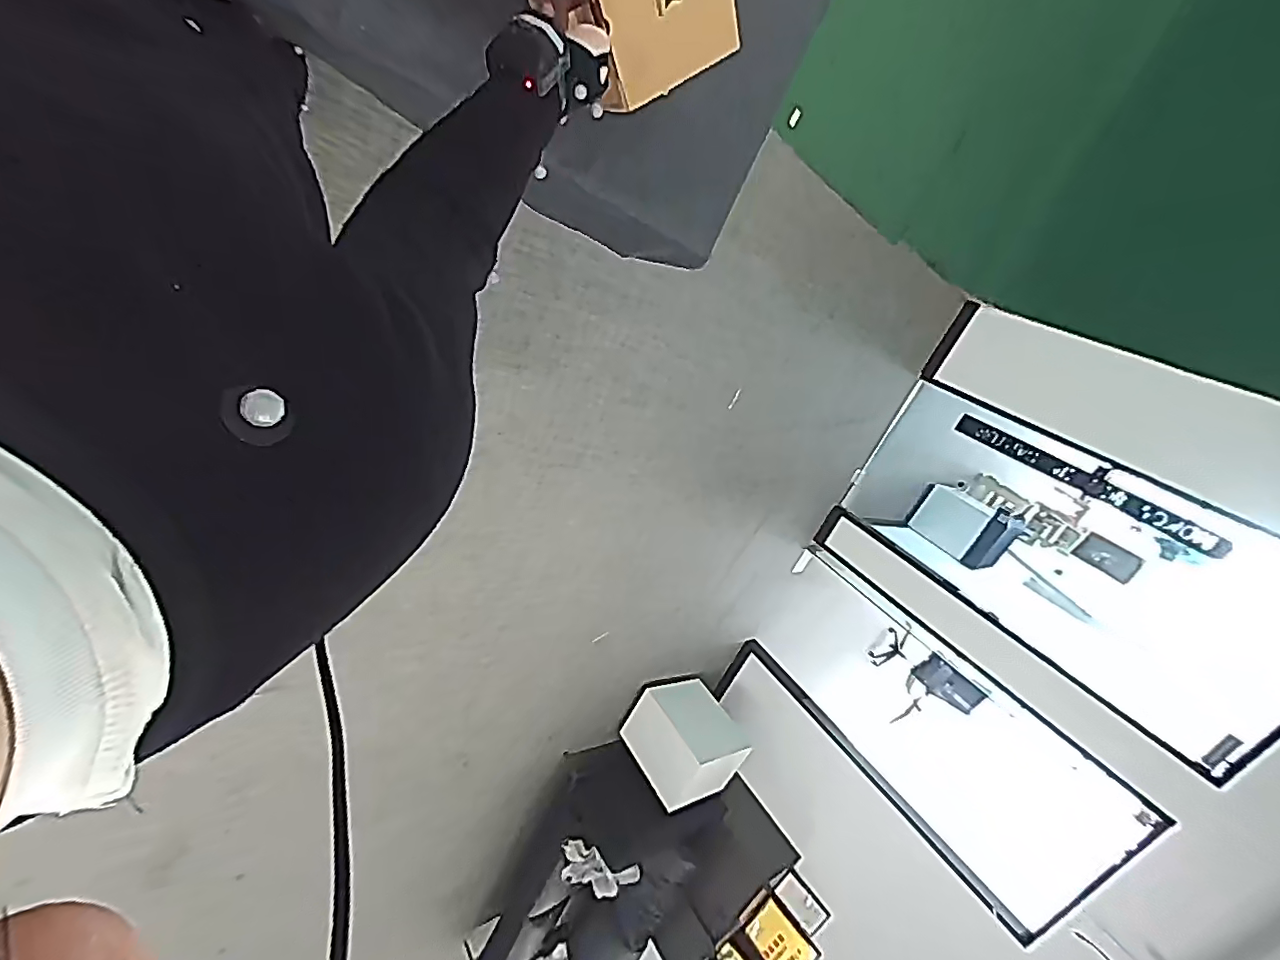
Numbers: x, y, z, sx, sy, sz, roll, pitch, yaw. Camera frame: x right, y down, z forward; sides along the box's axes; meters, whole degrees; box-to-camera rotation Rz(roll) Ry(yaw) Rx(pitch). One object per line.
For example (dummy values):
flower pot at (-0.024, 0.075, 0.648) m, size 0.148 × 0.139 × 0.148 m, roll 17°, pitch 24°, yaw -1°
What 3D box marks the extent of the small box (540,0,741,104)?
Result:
small box at (-0.011, -0.575, 0.635) m, size 0.179 × 0.176 × 0.168 m, roll -37°, pitch 140°, yaw -10°
